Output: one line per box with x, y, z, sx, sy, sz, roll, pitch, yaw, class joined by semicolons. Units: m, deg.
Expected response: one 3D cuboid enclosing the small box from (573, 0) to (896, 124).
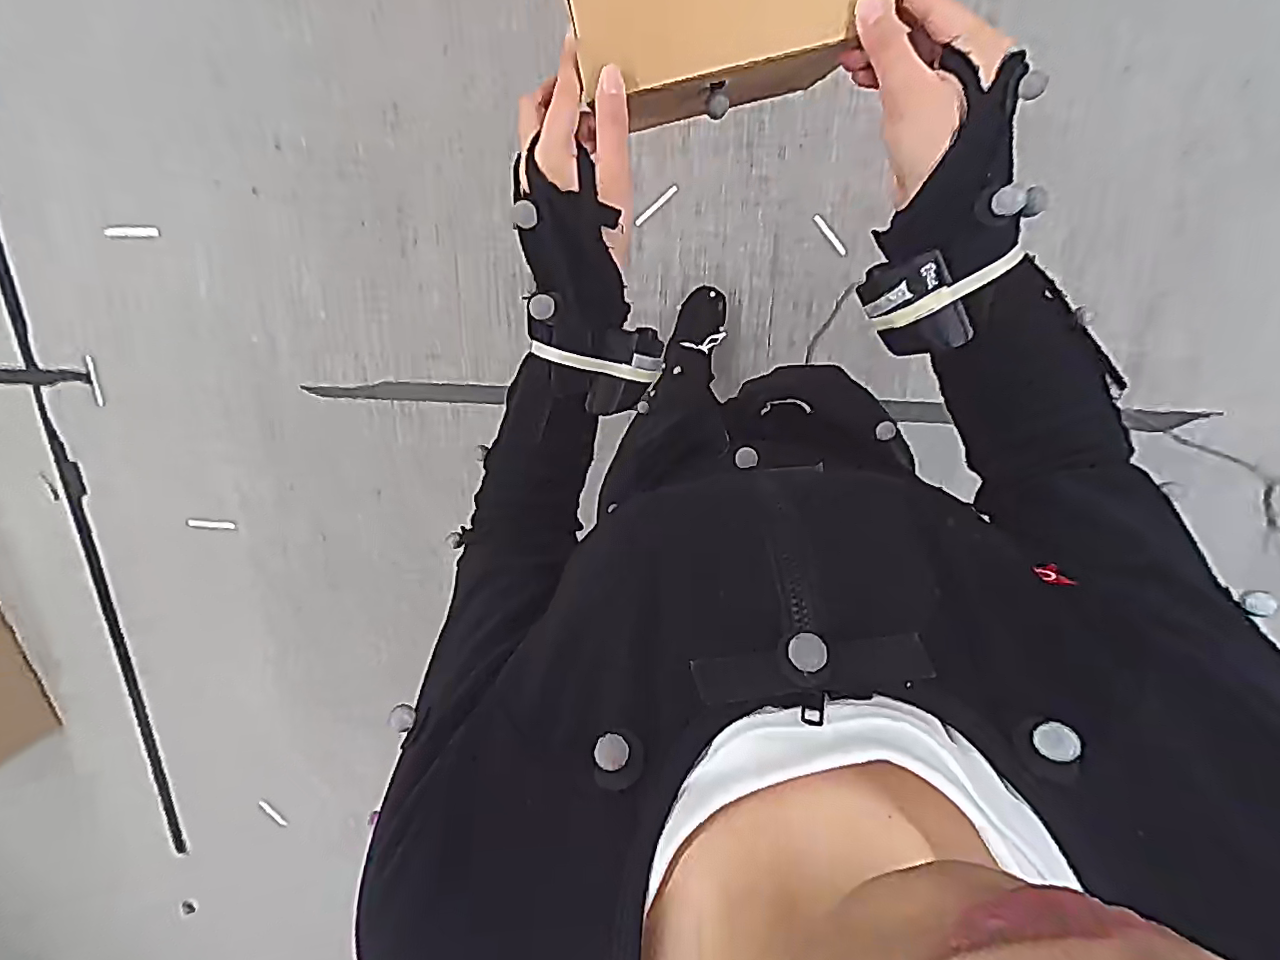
0.042;-0.346;0.342;0.179;0.176;0.168;-9;116;7;small box
